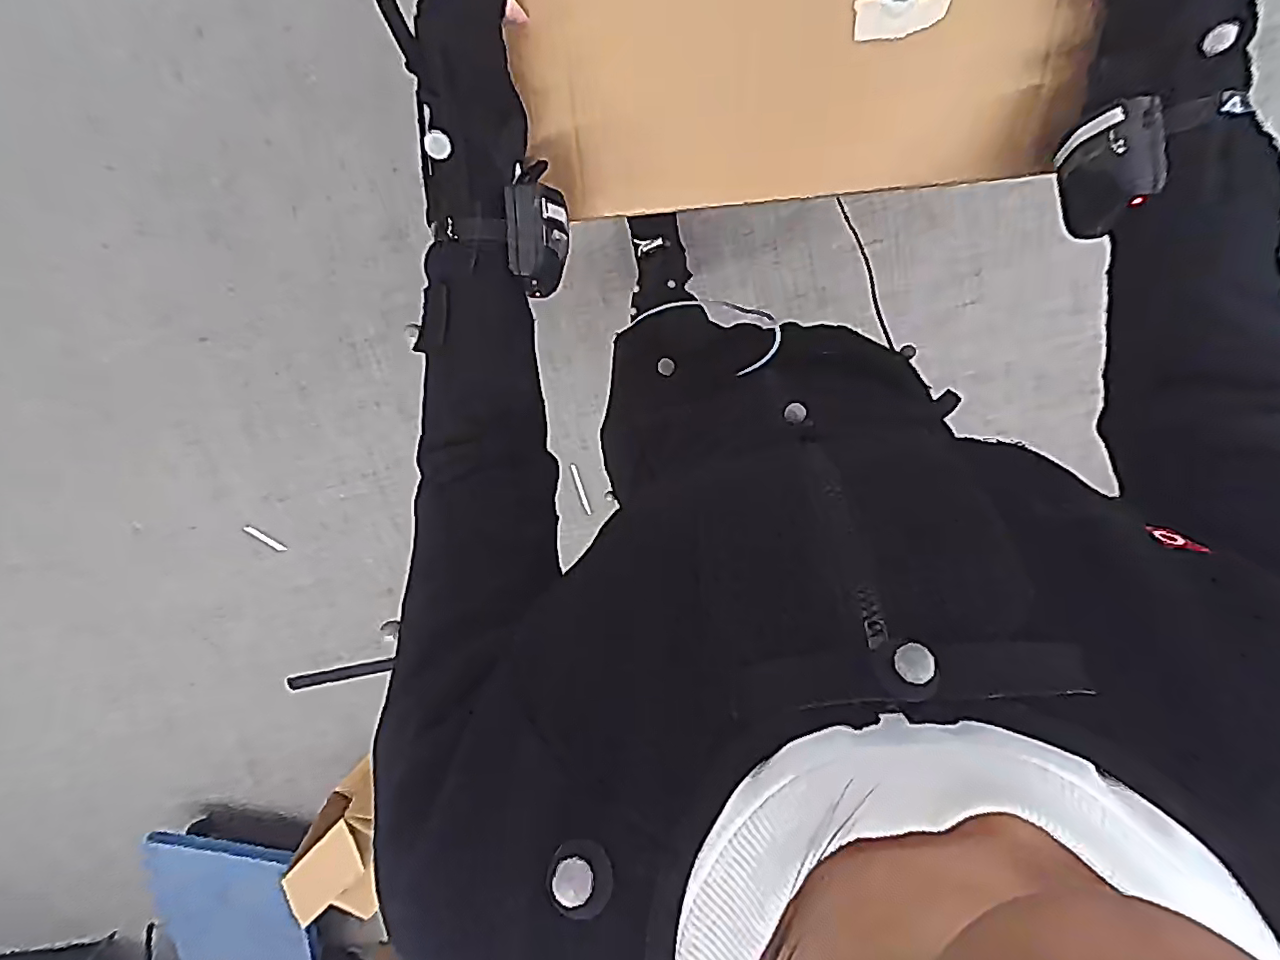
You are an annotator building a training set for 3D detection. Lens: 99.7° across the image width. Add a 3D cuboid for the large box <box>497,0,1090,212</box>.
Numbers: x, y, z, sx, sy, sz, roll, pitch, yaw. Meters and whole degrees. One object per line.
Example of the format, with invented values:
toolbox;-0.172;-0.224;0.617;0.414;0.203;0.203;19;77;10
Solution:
large box;0.101;-0.434;0.476;0.408;0.320;0.320;-3;119;5
